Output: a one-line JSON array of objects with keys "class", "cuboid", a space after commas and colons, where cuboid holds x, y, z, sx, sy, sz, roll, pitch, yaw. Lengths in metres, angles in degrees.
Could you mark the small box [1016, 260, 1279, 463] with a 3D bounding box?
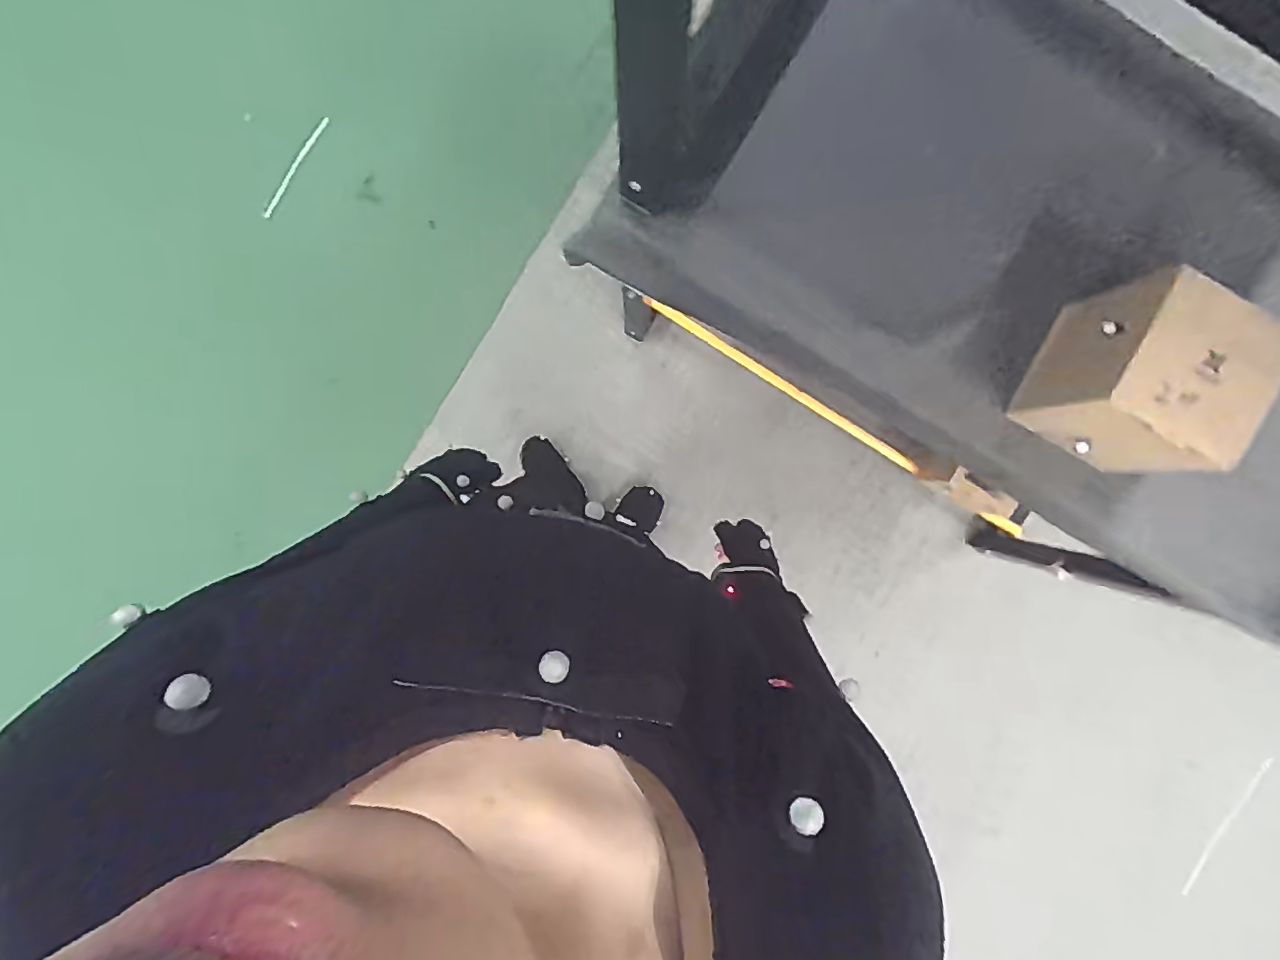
[{"class": "small box", "cuboid": [0.632, -0.135, 0.684, 0.168, 0.176, 0.179, 29, 90, -1]}]
